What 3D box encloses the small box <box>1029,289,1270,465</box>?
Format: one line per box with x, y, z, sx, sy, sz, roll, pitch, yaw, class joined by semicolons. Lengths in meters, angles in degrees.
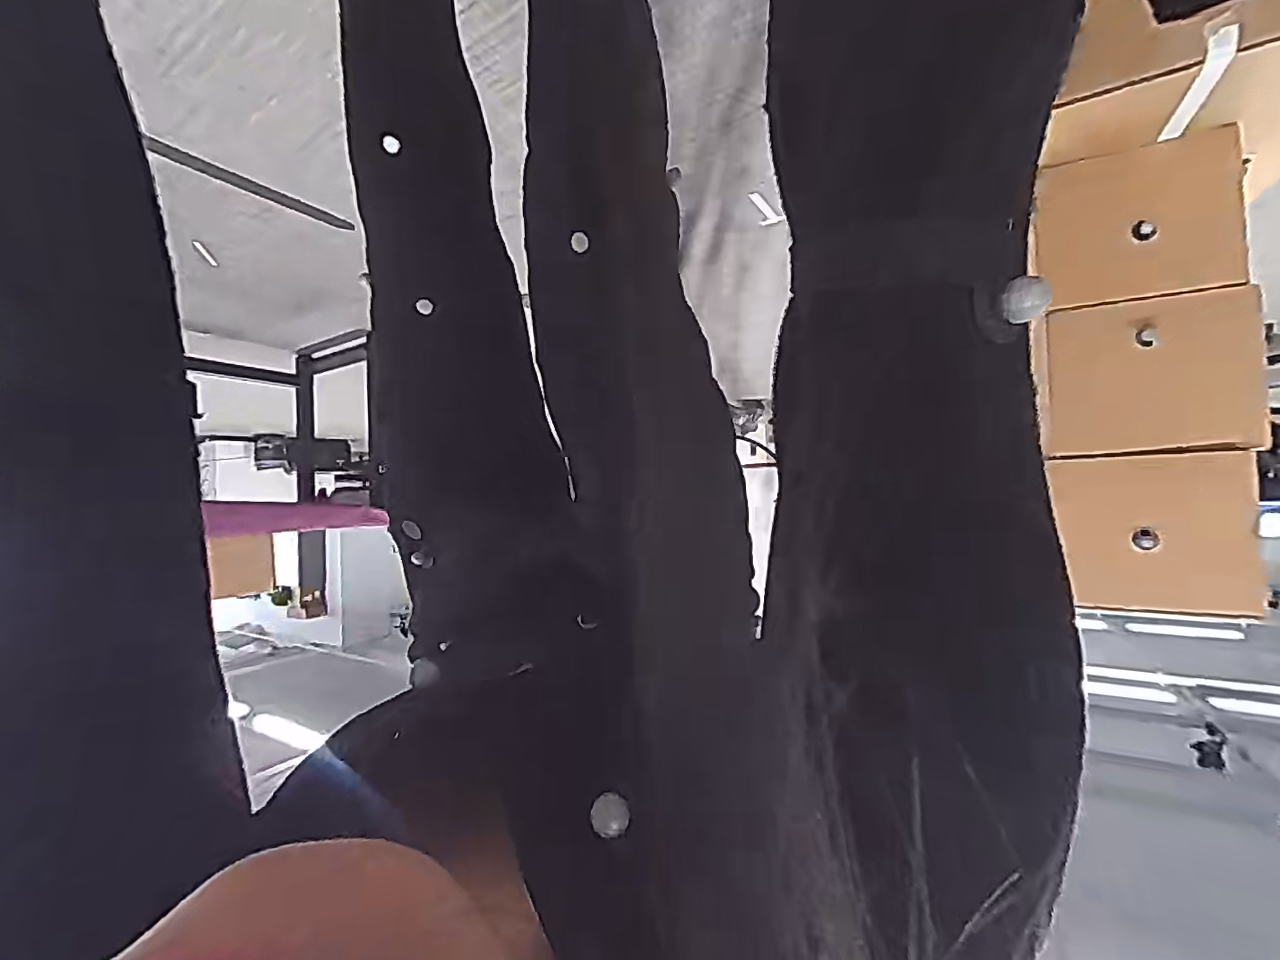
0.578;-0.107;0.640;0.179;0.176;0.168;-2;179;29;small box

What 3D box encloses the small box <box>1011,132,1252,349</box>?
0.564;-0.271;0.649;0.179;0.176;0.168;-3;178;26;small box
